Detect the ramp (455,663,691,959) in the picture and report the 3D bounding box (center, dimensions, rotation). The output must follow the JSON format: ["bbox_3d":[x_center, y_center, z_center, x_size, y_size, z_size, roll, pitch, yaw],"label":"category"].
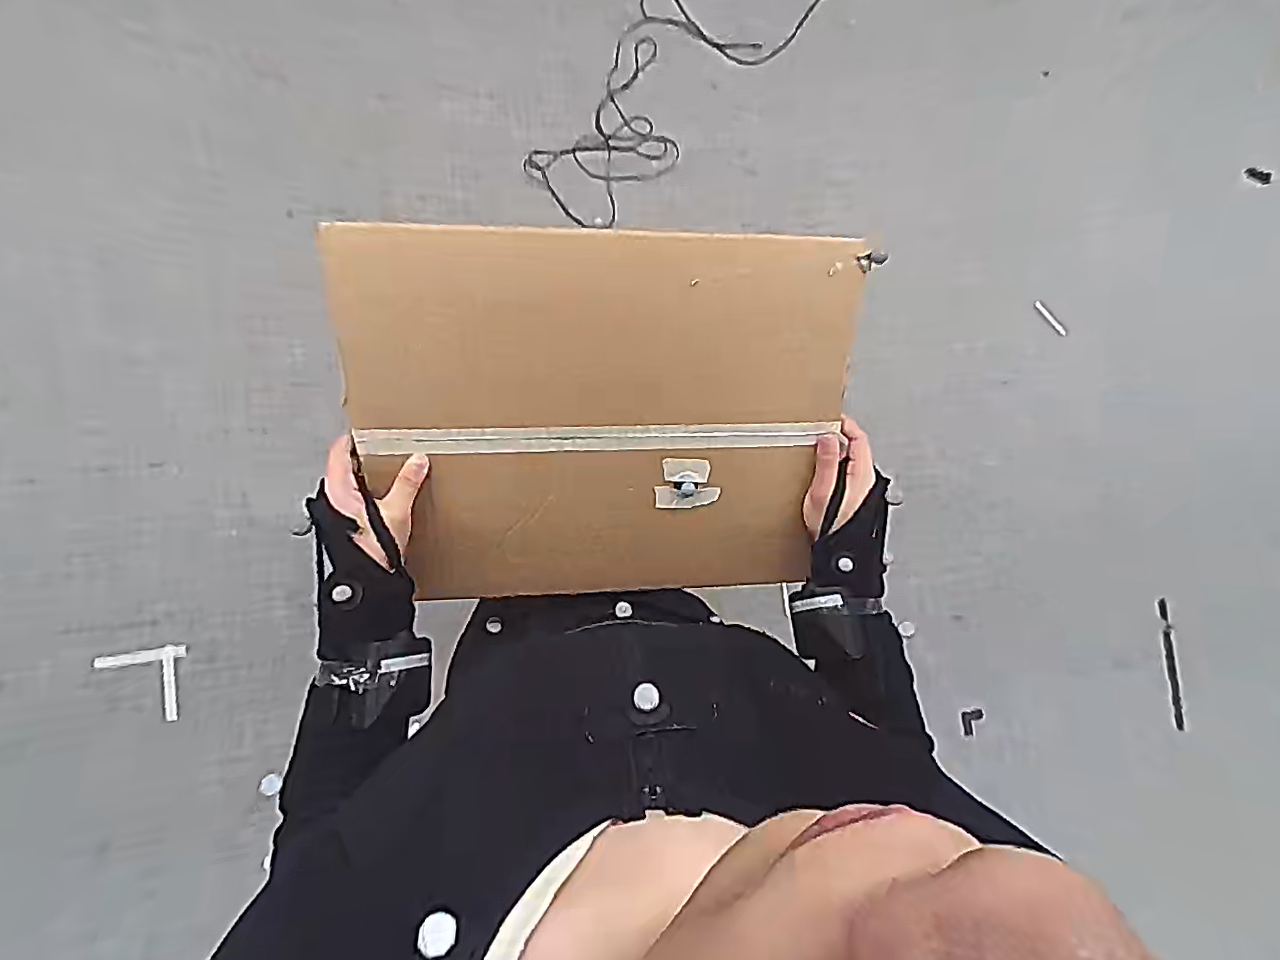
[{"bbox_3d":[-0.144,0.963,1.212,0.509,0.206,0.991,-7,84,-10],"label":"ramp"}]

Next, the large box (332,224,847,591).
[{"bbox_3d":[-0.050,-0.105,0.605,0.408,0.320,0.320,-3,114,-8],"label":"large box"}]
